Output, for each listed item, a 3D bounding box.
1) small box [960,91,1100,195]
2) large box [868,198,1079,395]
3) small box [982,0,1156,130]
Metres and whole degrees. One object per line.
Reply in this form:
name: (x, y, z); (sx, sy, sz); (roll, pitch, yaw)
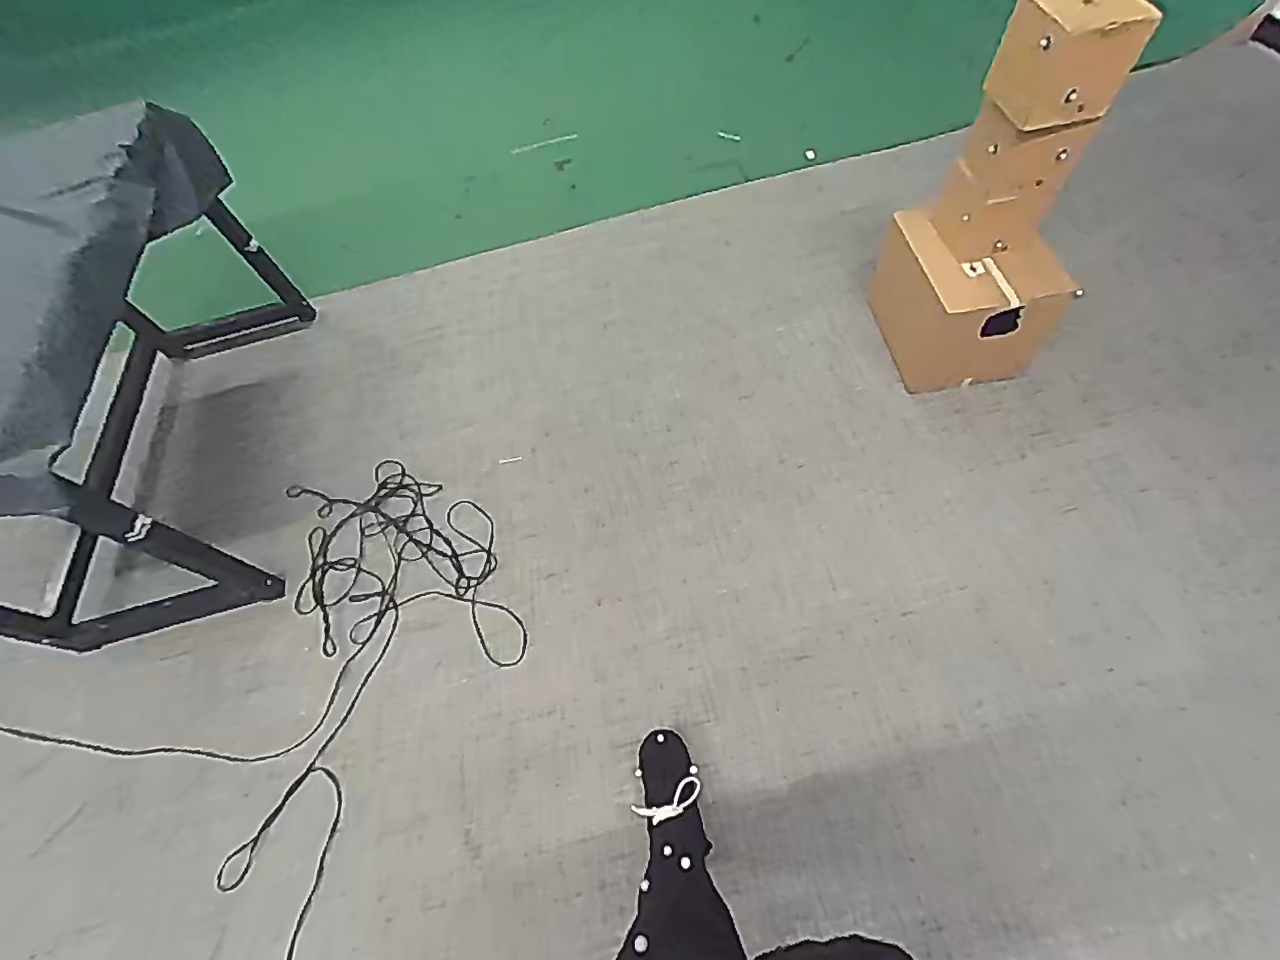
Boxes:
small box: (0.846, -0.754, 1.194); (0.168, 0.176, 0.179); (-5, 59, 4)
large box: (0.890, -0.507, 1.518); (0.320, 0.320, 0.408); (-10, 61, 4)
small box: (0.809, -0.819, 1.047); (0.168, 0.176, 0.179); (-11, 61, 1)
